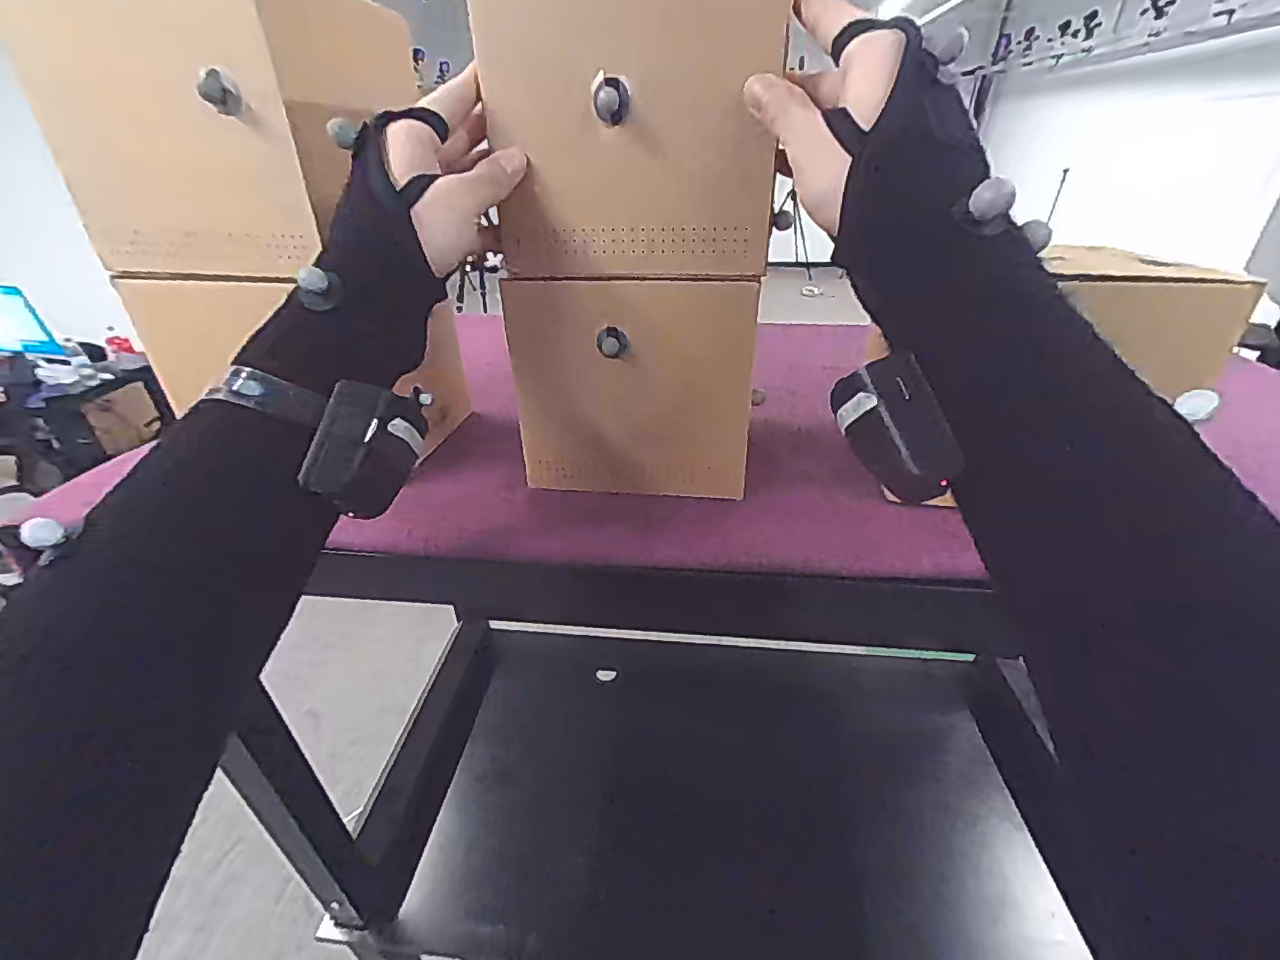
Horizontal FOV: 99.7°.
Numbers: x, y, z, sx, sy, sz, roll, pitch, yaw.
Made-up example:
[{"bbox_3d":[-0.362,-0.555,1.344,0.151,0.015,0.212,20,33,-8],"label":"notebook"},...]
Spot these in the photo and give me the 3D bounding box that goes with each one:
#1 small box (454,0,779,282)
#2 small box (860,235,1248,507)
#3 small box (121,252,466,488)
[{"bbox_3d":[0.000,-0.243,0.379,0.179,0.176,0.168,2,31,10],"label":"small box"},{"bbox_3d":[0.282,-0.091,0.429,0.179,0.176,0.168,2,31,9],"label":"small box"},{"bbox_3d":[-0.281,-0.104,0.488,0.179,0.176,0.168,4,31,7],"label":"small box"}]
